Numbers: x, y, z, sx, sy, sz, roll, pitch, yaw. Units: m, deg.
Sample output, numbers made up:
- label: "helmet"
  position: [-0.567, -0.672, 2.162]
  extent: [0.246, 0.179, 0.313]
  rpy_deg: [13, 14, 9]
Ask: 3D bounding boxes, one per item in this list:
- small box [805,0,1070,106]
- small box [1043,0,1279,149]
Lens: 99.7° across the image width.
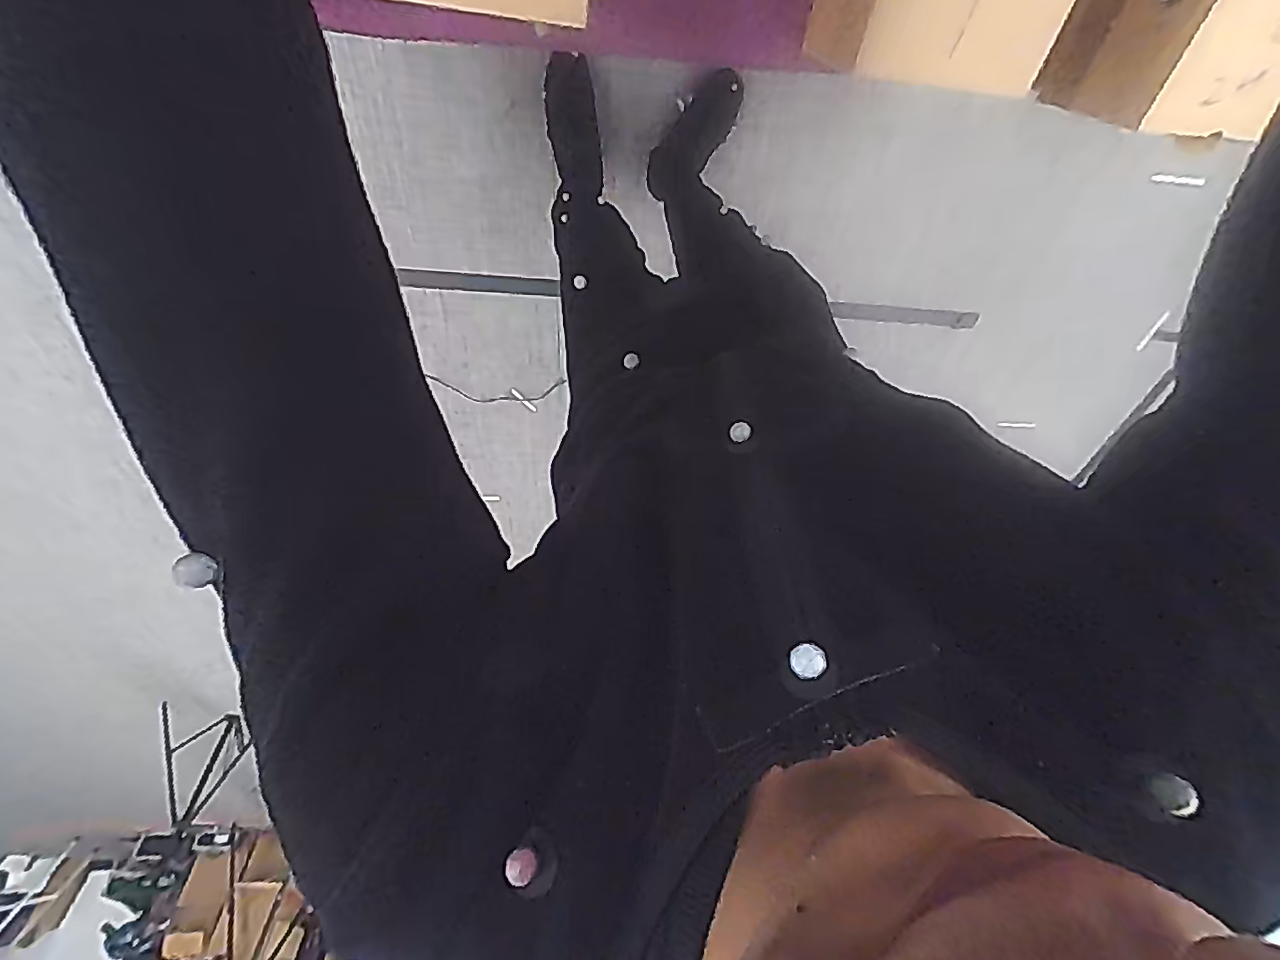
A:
- label: "small box"
  position: [0.264, -0.459, 0.475]
  extent: [0.168, 0.176, 0.179]
  rpy_deg: [3, 134, -7]
- label: "small box"
  position: [0.541, -0.439, 0.513]
  extent: [0.168, 0.176, 0.179]
  rpy_deg: [2, 133, -5]
